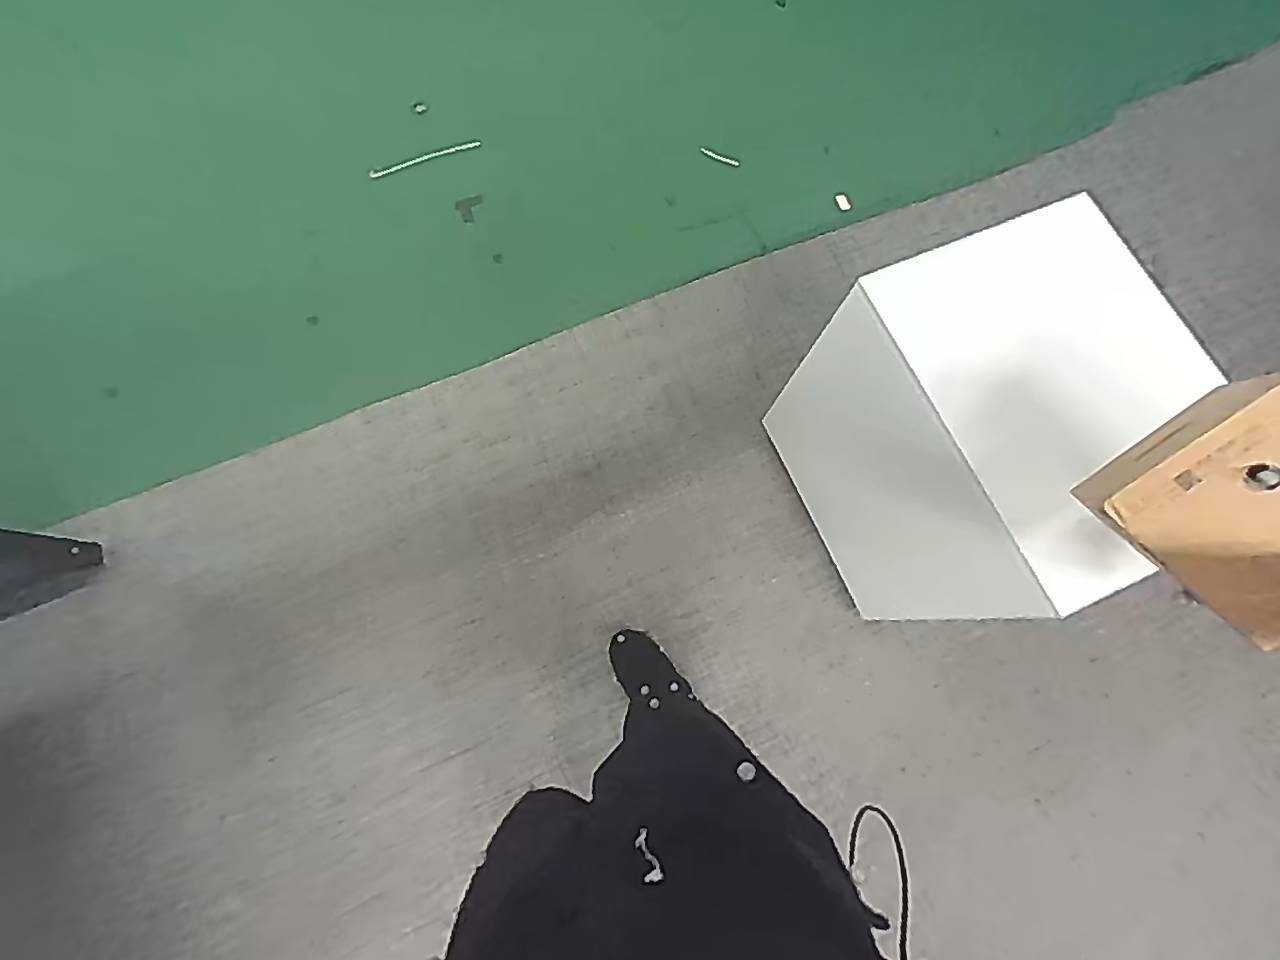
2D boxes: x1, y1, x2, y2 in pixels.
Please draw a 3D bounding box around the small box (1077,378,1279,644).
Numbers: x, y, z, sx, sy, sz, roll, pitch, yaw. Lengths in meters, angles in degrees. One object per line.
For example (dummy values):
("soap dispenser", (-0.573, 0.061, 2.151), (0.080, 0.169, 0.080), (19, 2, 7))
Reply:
("small box", (0.570, 0.020, 0.520), (0.176, 0.179, 0.168), (51, 118, 20))
